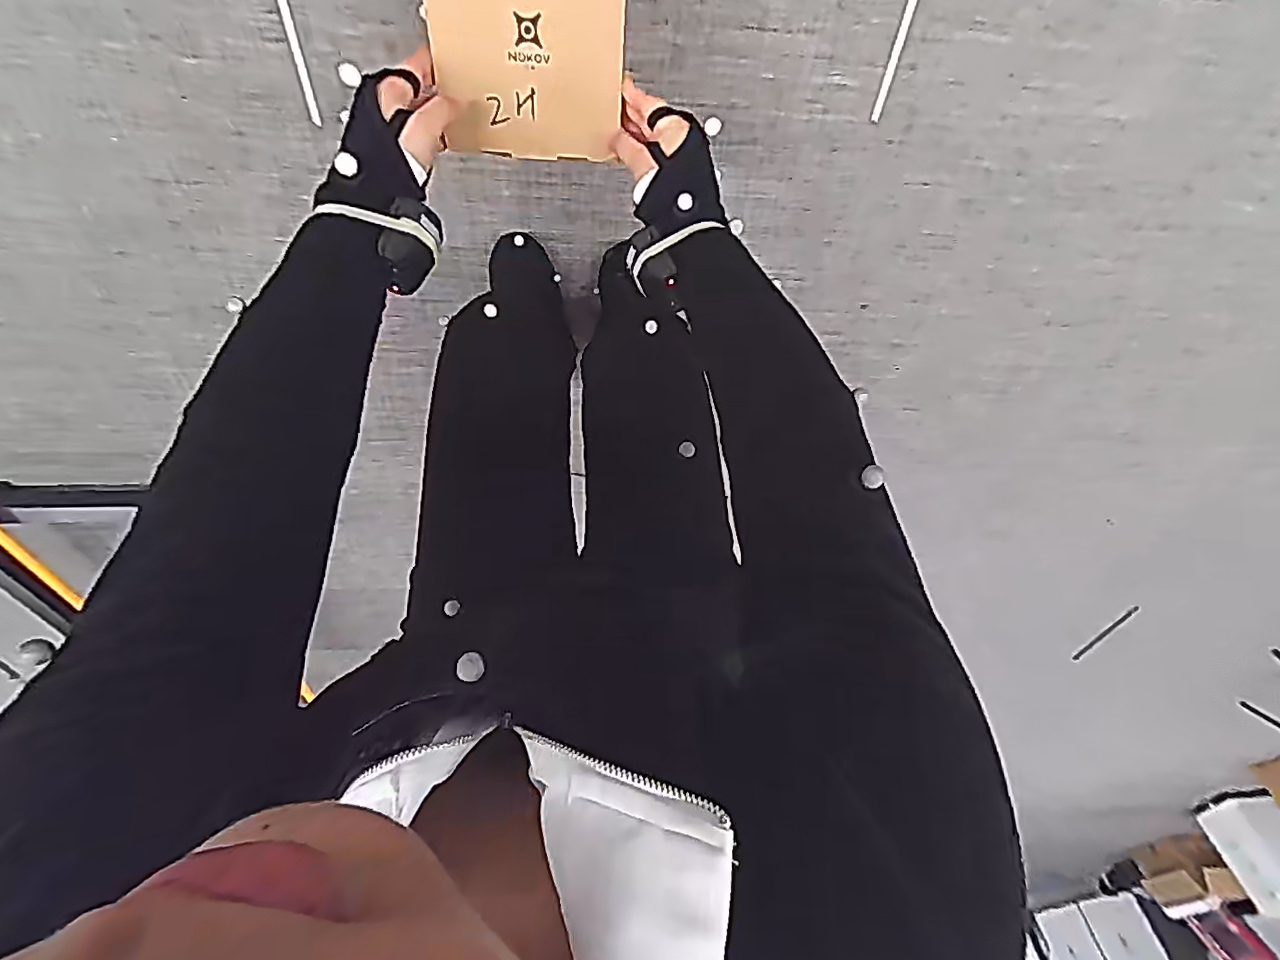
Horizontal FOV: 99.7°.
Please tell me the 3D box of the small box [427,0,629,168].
[{"bbox_3d":[-0.097,-0.423,0.517,0.168,0.176,0.179,2,134,-4],"label":"small box"}]
